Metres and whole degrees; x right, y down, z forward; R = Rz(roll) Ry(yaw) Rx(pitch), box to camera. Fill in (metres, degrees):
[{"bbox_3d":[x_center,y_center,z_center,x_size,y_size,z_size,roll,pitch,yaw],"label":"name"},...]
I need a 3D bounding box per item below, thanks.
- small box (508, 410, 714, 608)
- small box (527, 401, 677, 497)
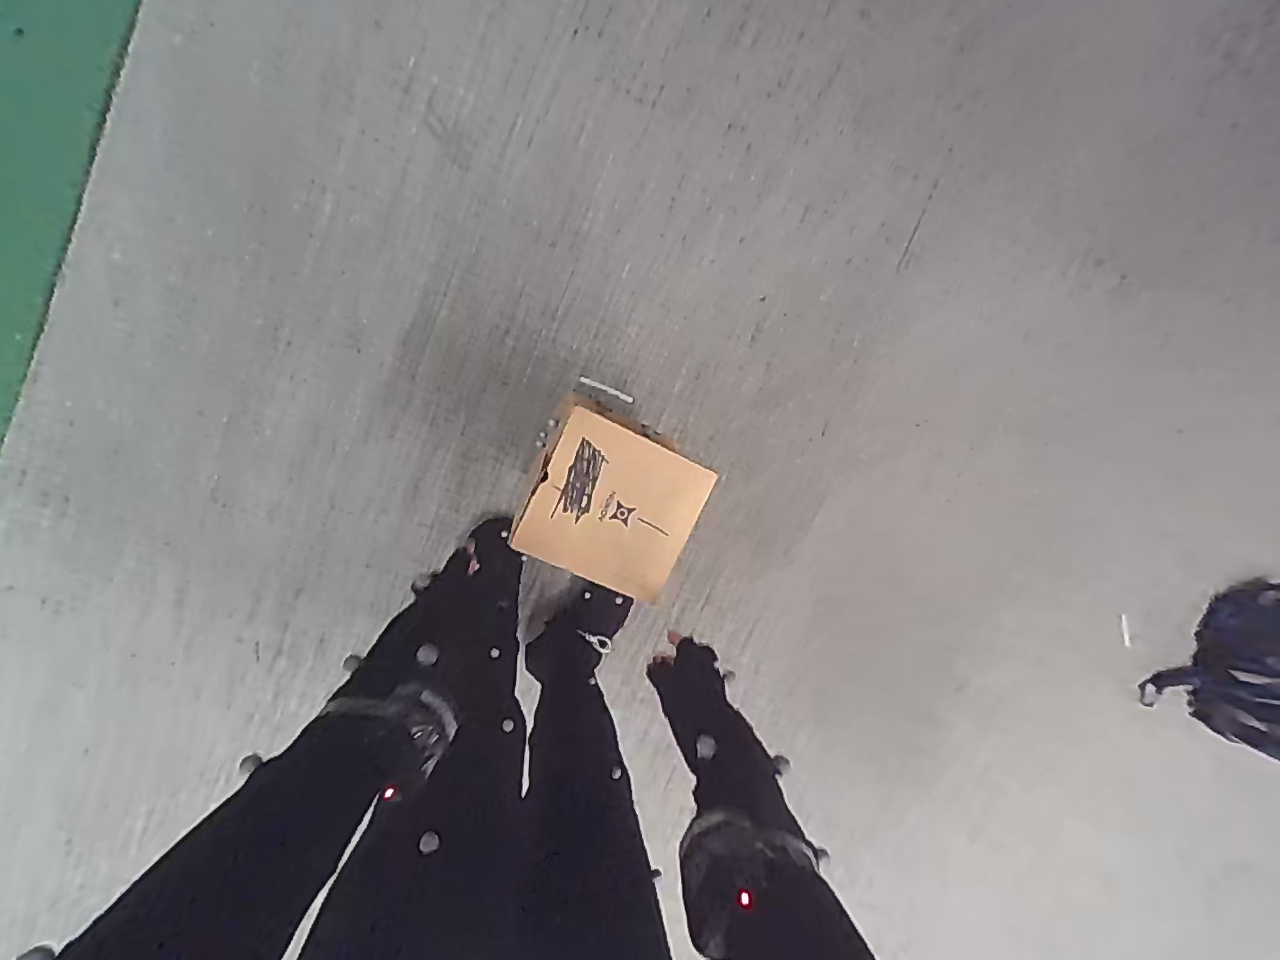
[{"bbox_3d":[-0.041,0.027,0.662,0.179,0.176,0.168,26,93,-12],"label":"small box"},{"bbox_3d":[-0.067,-0.009,0.822,0.168,0.176,0.179,24,95,-11],"label":"small box"}]
